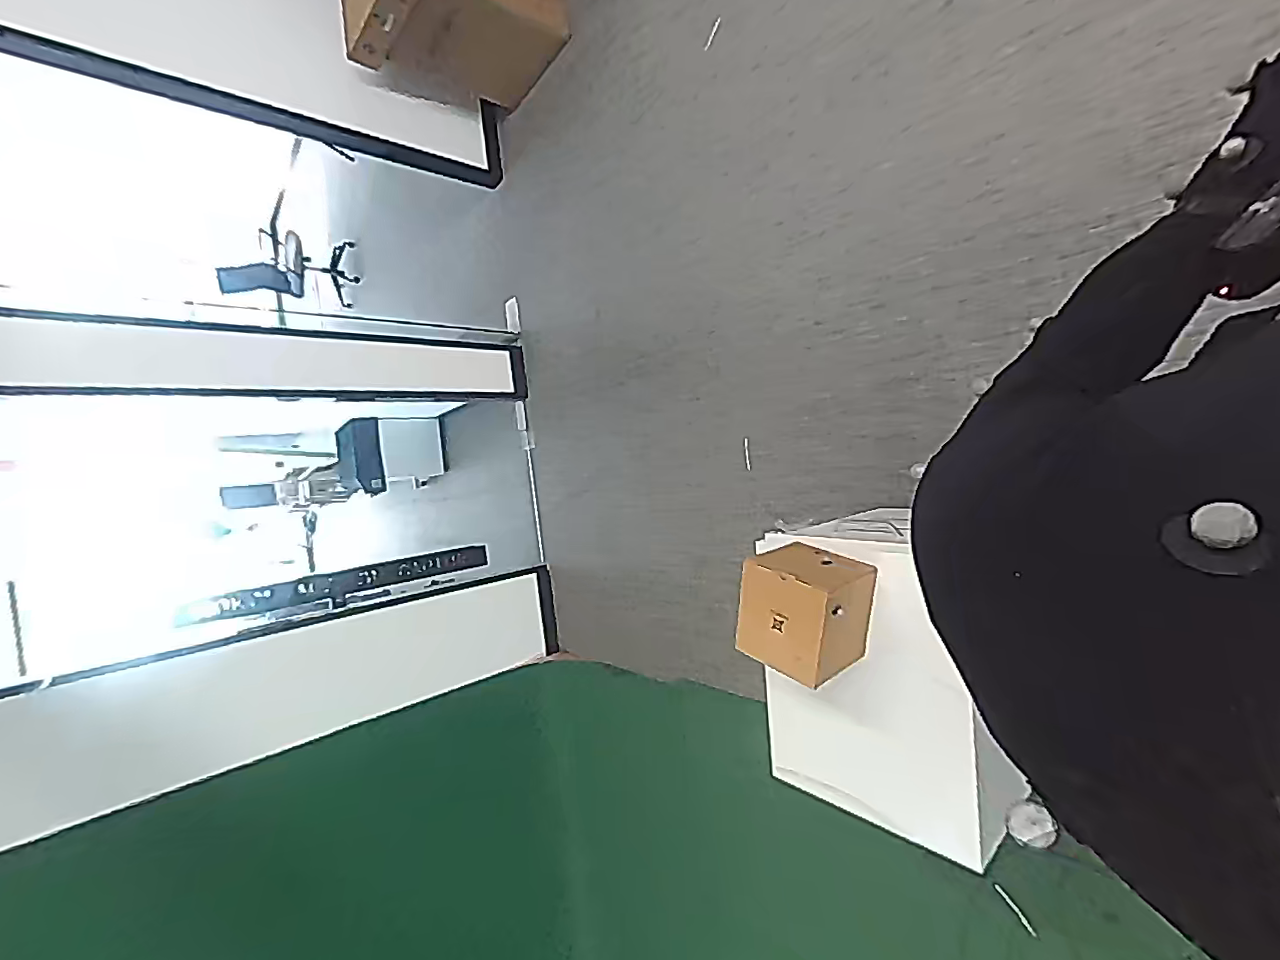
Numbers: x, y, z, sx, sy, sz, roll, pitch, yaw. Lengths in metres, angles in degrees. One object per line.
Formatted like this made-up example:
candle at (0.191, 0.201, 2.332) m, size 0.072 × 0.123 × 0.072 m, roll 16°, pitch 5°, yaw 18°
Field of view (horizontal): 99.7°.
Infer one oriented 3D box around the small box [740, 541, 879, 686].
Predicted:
small box at (0.300, 0.224, 0.958) m, size 0.168 × 0.176 × 0.179 m, roll 17°, pitch 108°, yaw 47°
